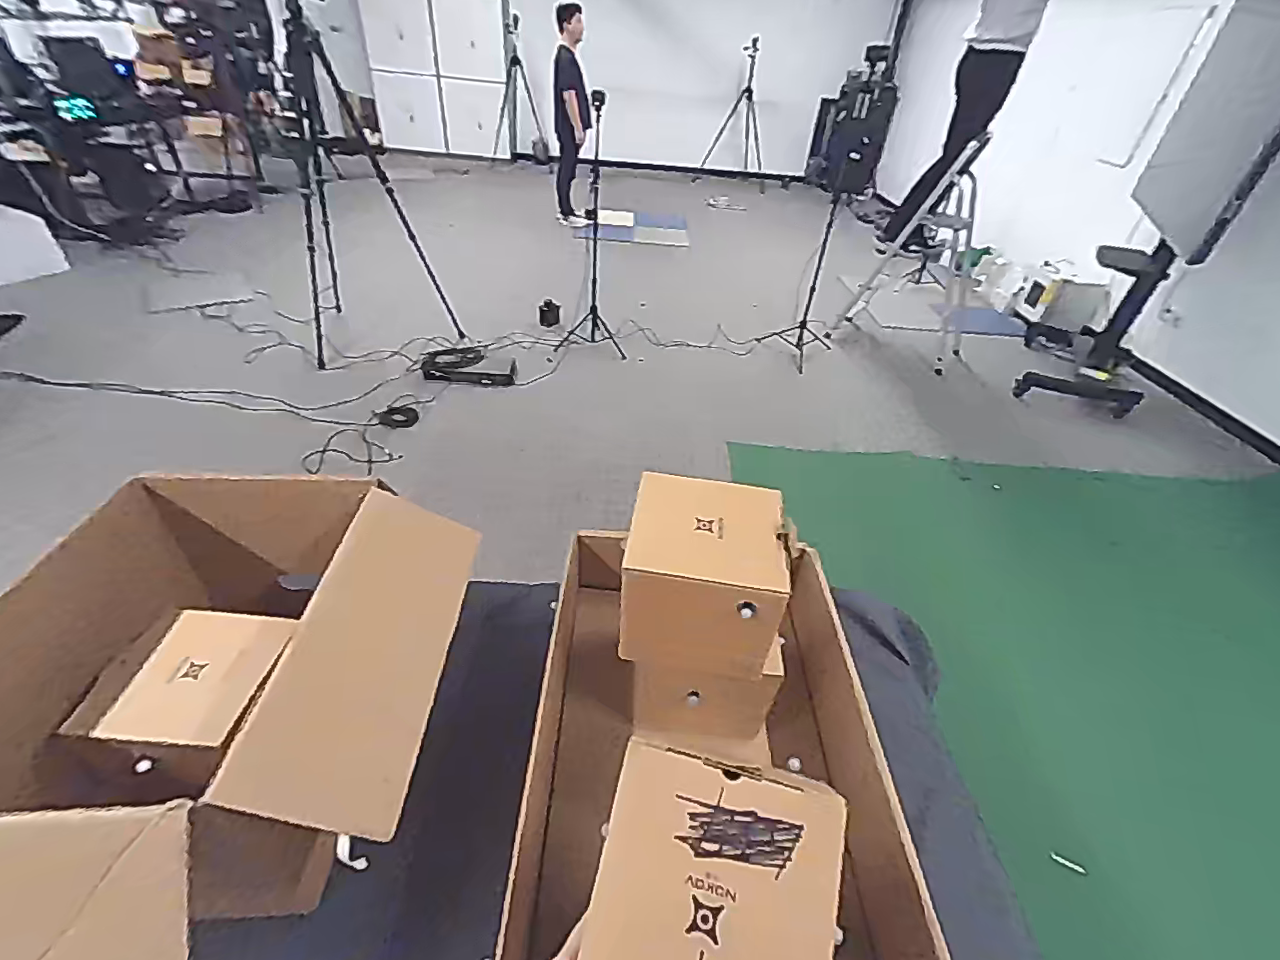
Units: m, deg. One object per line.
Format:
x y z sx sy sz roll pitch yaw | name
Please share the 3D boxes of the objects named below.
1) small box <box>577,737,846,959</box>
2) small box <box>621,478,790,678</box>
0.064 0.327 0.448 0.168 0.176 0.179 9 70 17 | small box
0.075 0.121 0.669 0.179 0.176 0.168 8 40 4 | small box
